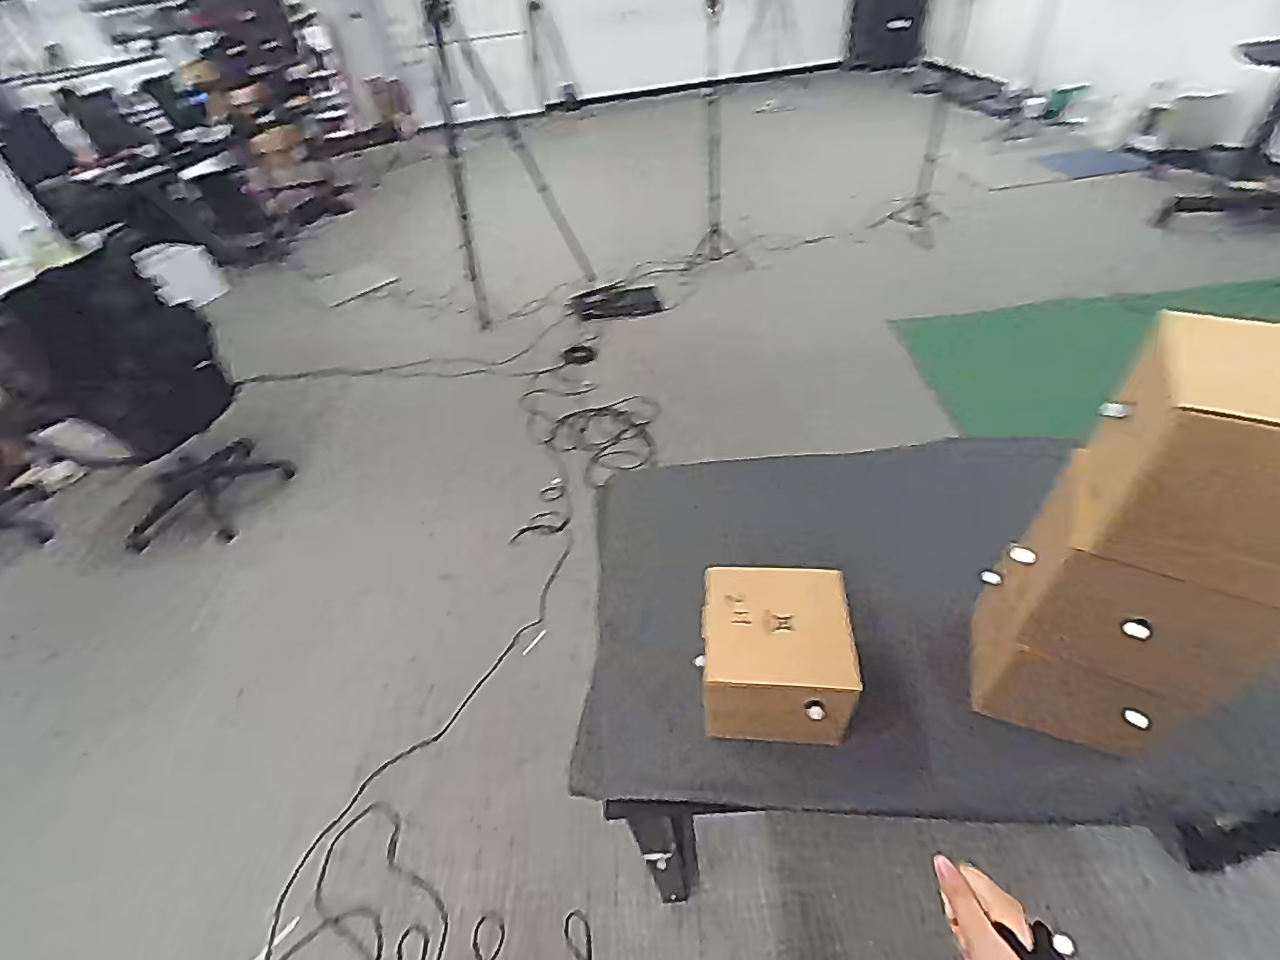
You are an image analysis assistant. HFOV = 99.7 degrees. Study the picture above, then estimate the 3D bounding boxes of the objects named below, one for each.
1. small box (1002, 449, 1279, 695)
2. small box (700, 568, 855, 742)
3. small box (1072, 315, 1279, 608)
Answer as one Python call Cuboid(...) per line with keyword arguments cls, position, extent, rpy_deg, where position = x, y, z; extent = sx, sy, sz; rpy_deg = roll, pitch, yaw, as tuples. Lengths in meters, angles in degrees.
Cuboid(cls="small box", position=(0.520, 0.098, 0.574), extent=(0.179, 0.176, 0.168), rpy_deg=(18, 49, 27))
Cuboid(cls="small box", position=(0.172, 0.236, 0.726), extent=(0.179, 0.176, 0.168), rpy_deg=(-1, 45, 9))
Cuboid(cls="small box", position=(0.505, -0.018, 0.462), extent=(0.179, 0.176, 0.168), rpy_deg=(19, 49, 25))
